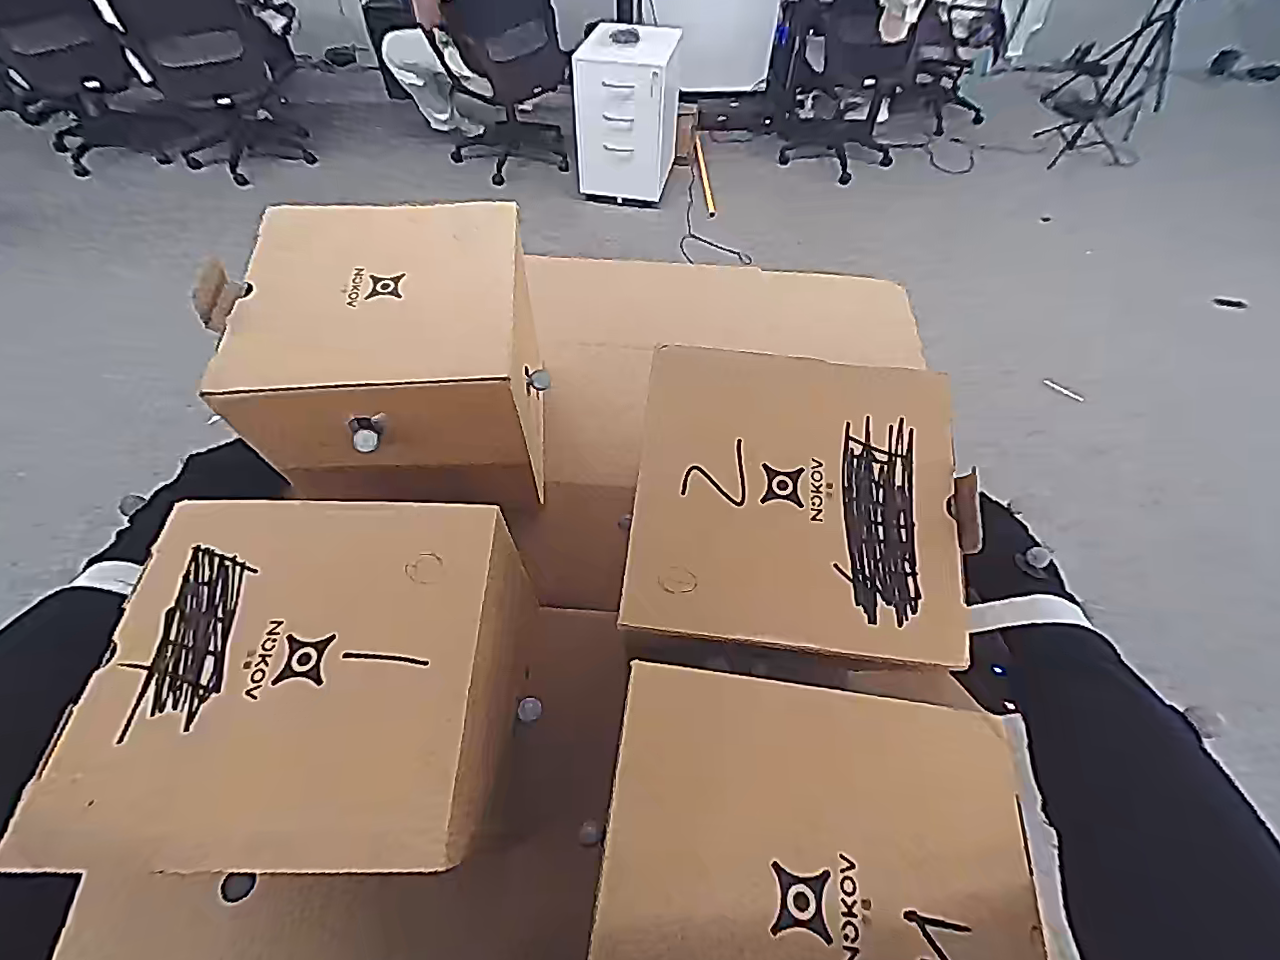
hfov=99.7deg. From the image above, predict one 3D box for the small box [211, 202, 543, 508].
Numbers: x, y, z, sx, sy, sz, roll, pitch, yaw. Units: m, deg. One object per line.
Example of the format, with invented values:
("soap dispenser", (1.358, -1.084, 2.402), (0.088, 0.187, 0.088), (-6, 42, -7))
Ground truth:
("small box", (-0.173, -0.089, 0.427), (0.179, 0.176, 0.168), (-4, 61, -3))
